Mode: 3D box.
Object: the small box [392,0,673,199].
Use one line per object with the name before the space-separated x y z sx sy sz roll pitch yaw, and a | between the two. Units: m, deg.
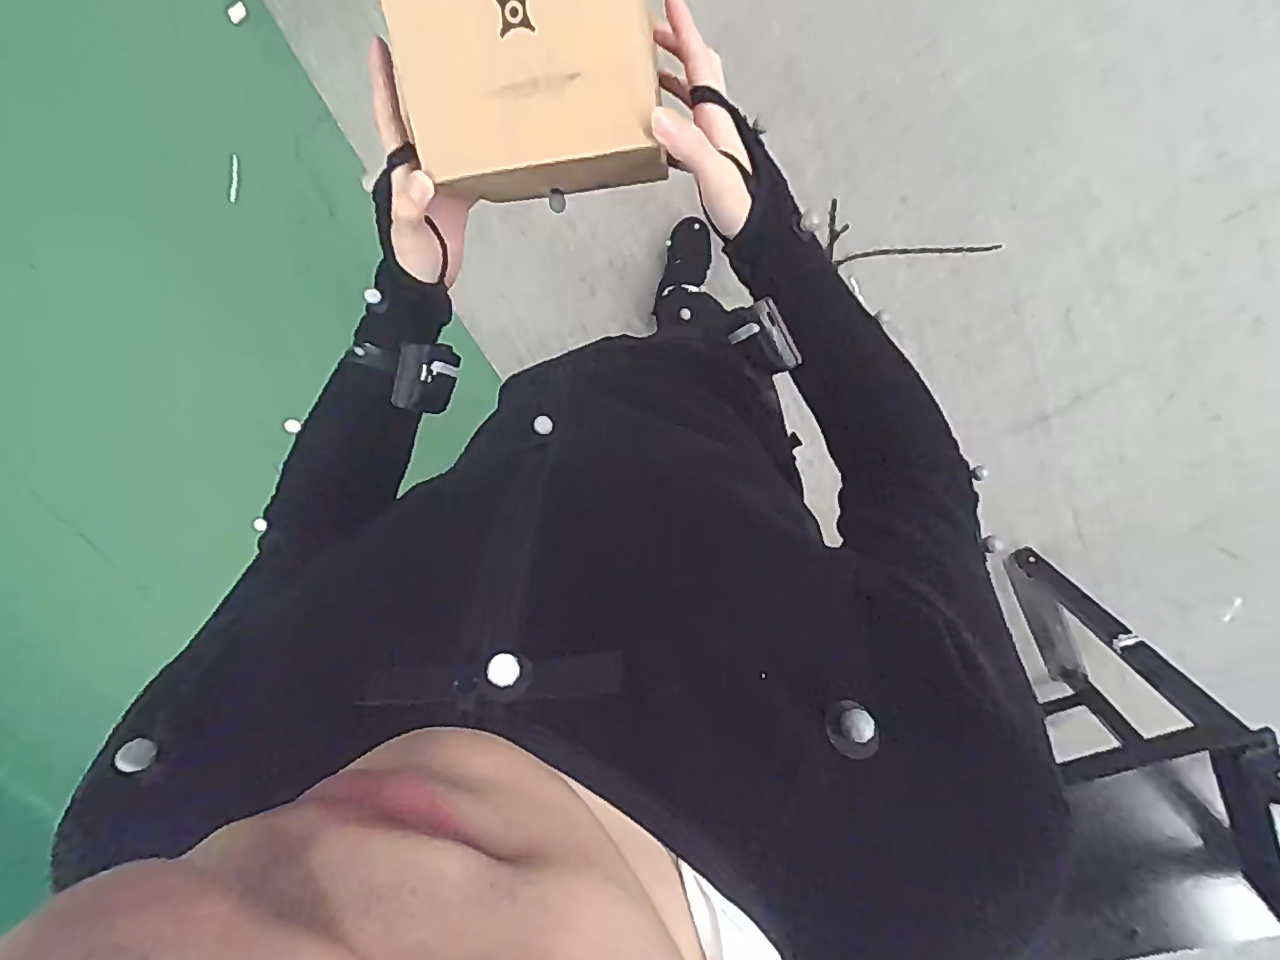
small box | -0.065 -0.325 0.401 0.168 0.176 0.179 -5 112 7
